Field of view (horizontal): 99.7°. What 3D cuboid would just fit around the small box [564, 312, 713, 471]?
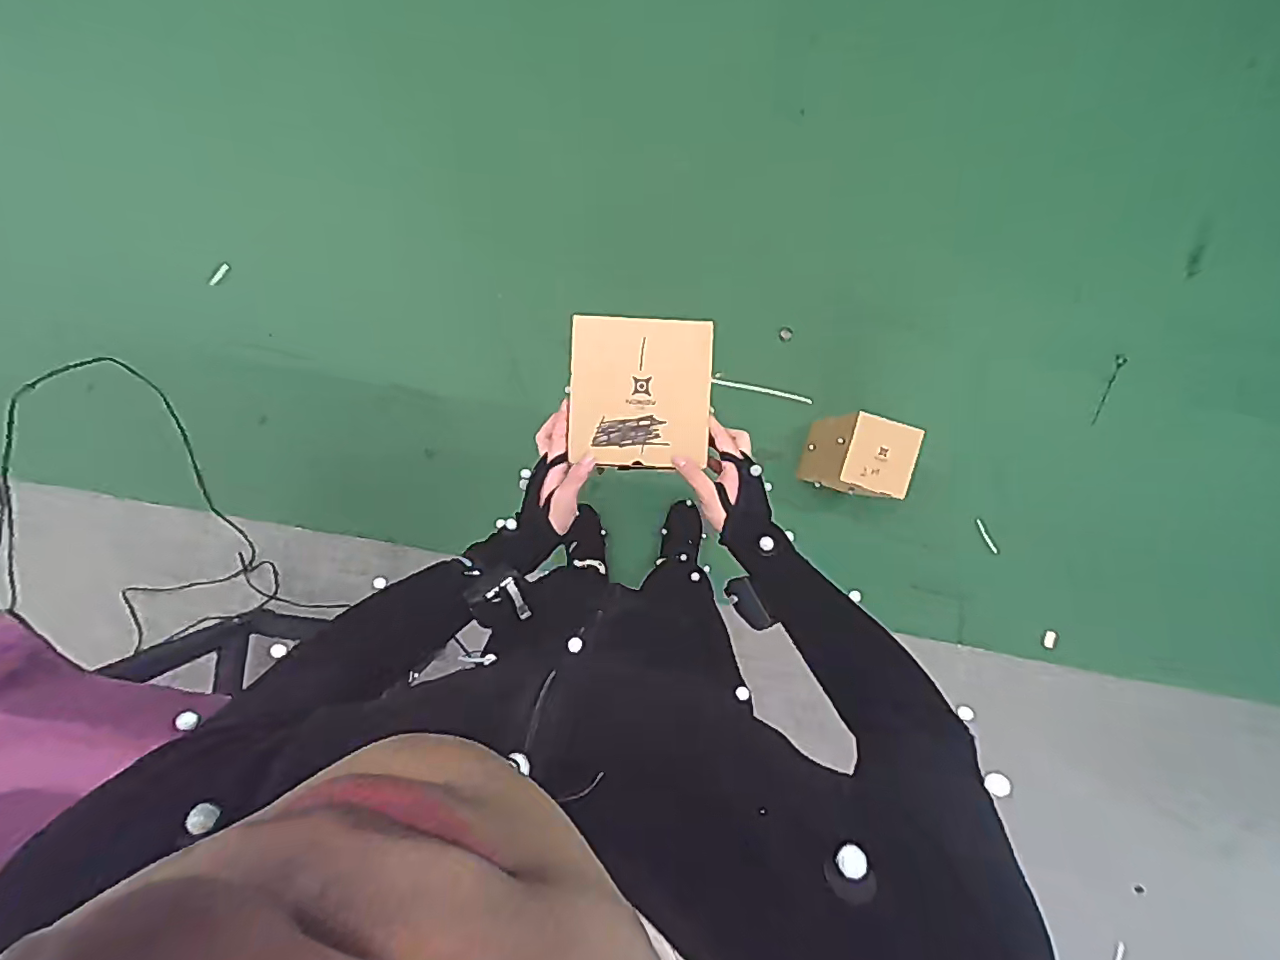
[{"bbox_3d":[-0.003,-0.105,0.698,0.168,0.176,0.179,2,92,-1],"label":"small box"}]

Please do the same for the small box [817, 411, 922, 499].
[{"bbox_3d":[0.571,-0.061,1.368,0.168,0.176,0.179,17,91,-2],"label":"small box"}]
